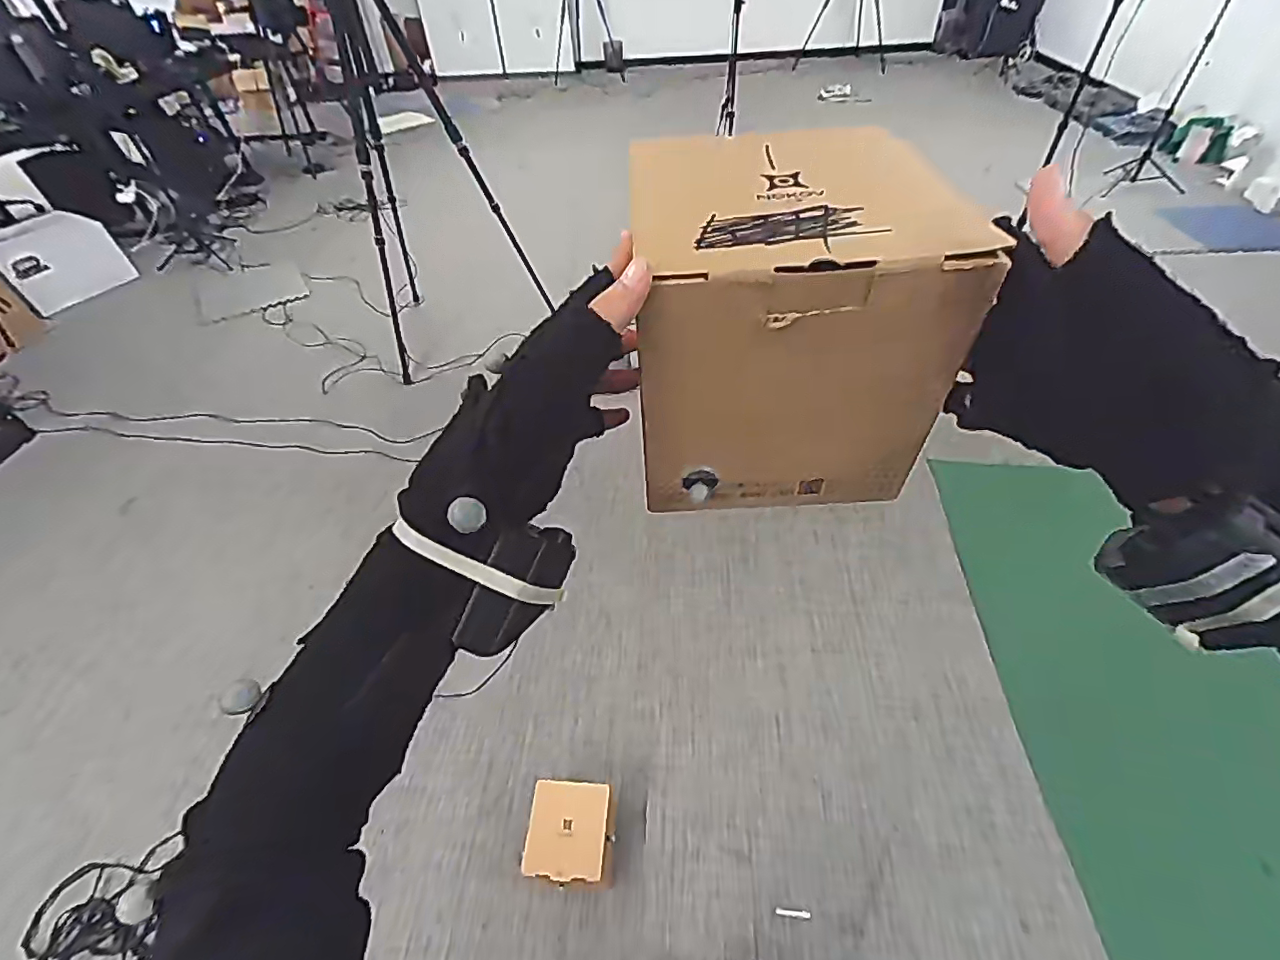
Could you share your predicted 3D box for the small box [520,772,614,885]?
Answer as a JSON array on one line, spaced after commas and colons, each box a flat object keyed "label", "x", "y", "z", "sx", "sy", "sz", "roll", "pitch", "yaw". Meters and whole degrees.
[{"label": "small box", "x": -0.152, "y": 0.775, "z": 1.201, "sx": 0.168, "sy": 0.176, "sz": 0.179, "roll": 1, "pitch": 47, "yaw": 6}]
